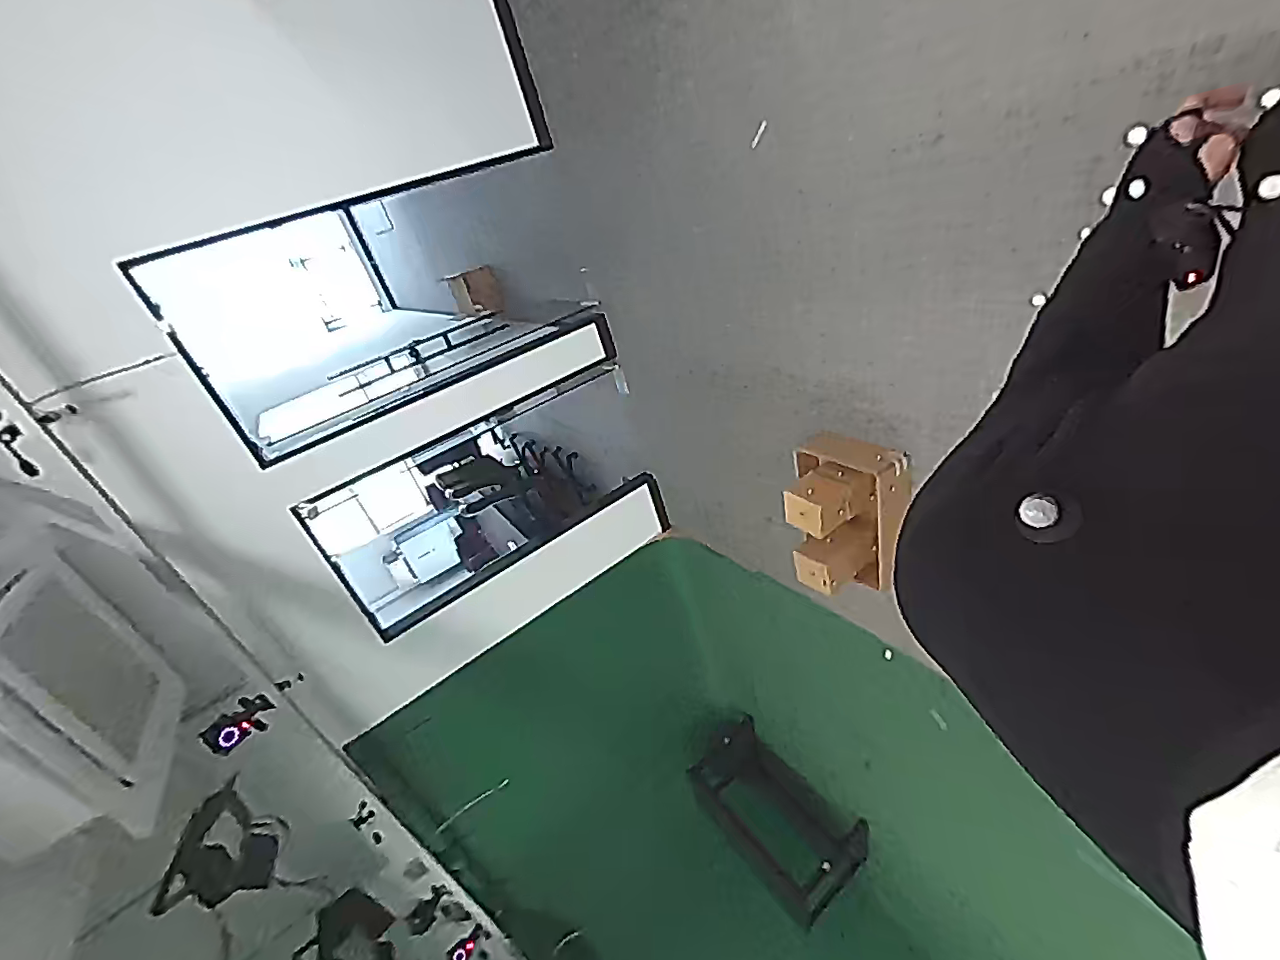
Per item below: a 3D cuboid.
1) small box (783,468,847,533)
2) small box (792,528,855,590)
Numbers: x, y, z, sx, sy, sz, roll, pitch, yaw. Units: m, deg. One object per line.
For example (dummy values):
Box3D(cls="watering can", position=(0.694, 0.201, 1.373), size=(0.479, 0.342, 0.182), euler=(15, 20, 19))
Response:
Box3D(cls="small box", position=(0.690, 0.073, 2.130), size=(0.179, 0.176, 0.168), euler=(30, 144, 46))
Box3D(cls="small box", position=(0.773, 0.323, 2.274), size=(0.179, 0.176, 0.168), euler=(26, 142, 52))
